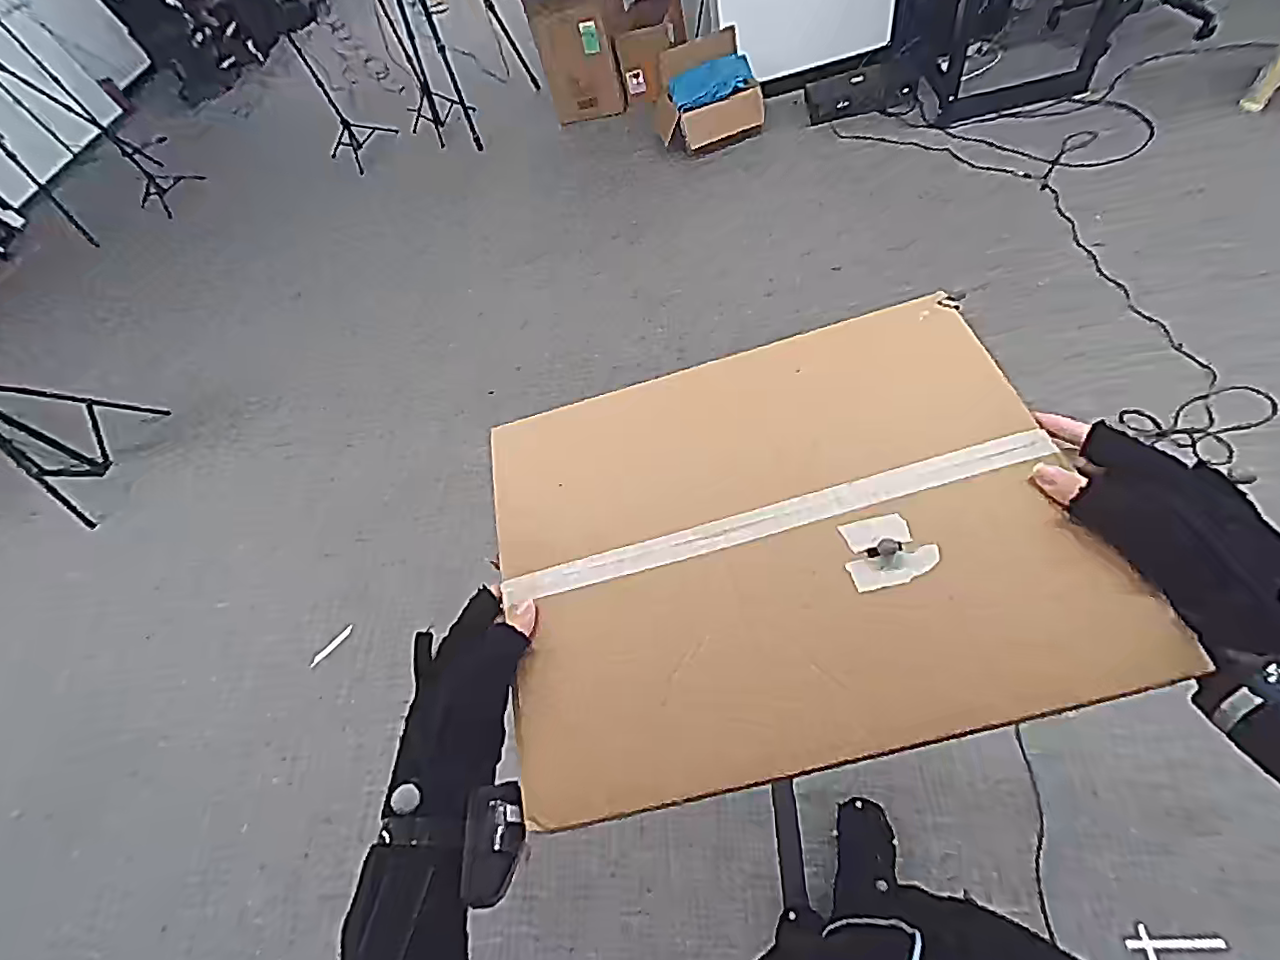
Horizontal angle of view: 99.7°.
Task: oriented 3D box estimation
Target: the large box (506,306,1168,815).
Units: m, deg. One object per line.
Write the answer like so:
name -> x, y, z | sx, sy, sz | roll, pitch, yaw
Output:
large box -> 0.125, 0.100, 0.536 | 0.408, 0.320, 0.320 | -16, 61, 4
